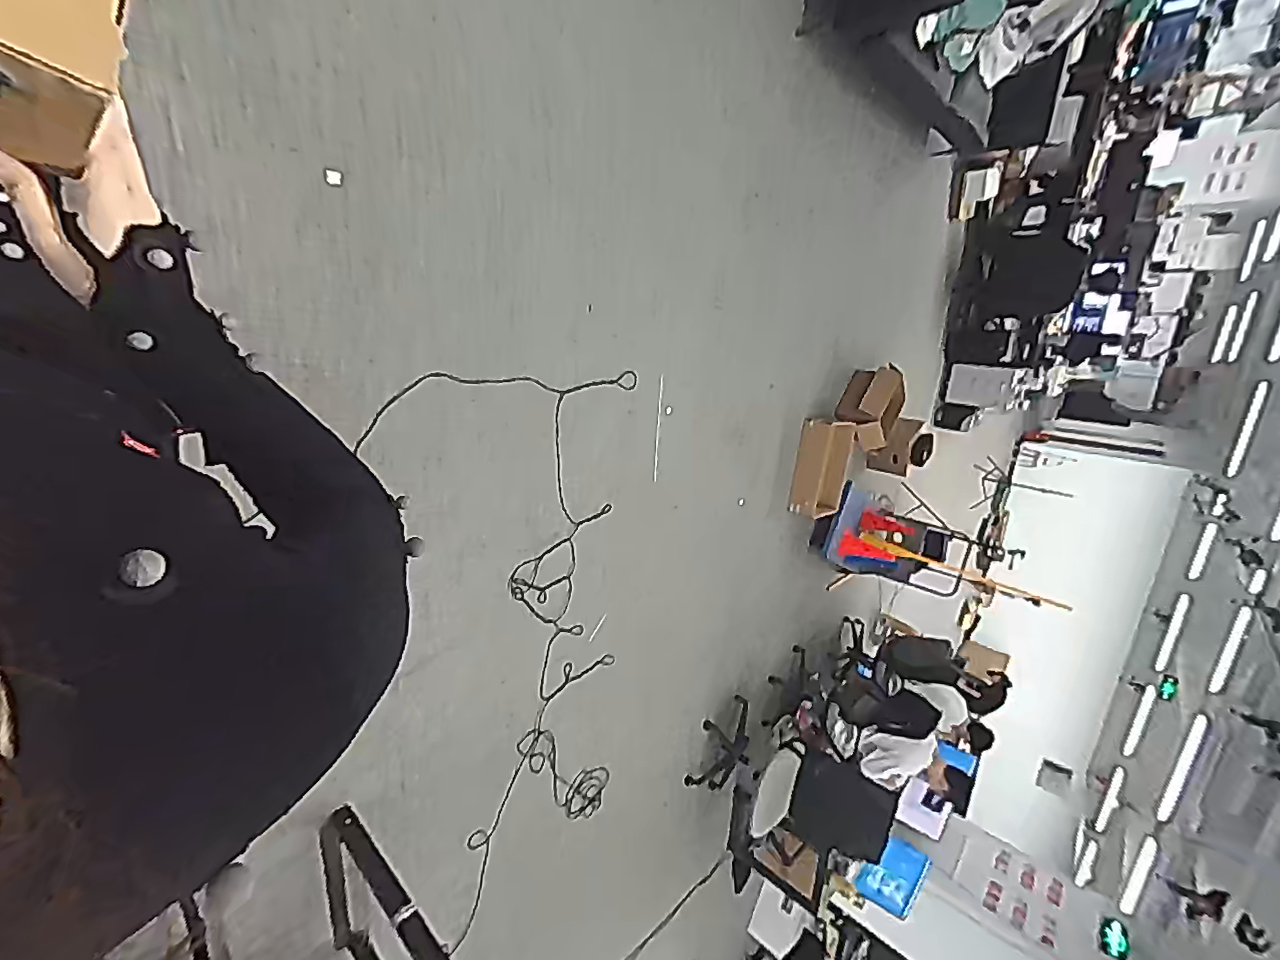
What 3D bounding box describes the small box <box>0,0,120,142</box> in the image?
[{"bbox_3d":[-0.342,-0.278,0.225,0.179,0.176,0.168,6,93,-52],"label":"small box"}]
